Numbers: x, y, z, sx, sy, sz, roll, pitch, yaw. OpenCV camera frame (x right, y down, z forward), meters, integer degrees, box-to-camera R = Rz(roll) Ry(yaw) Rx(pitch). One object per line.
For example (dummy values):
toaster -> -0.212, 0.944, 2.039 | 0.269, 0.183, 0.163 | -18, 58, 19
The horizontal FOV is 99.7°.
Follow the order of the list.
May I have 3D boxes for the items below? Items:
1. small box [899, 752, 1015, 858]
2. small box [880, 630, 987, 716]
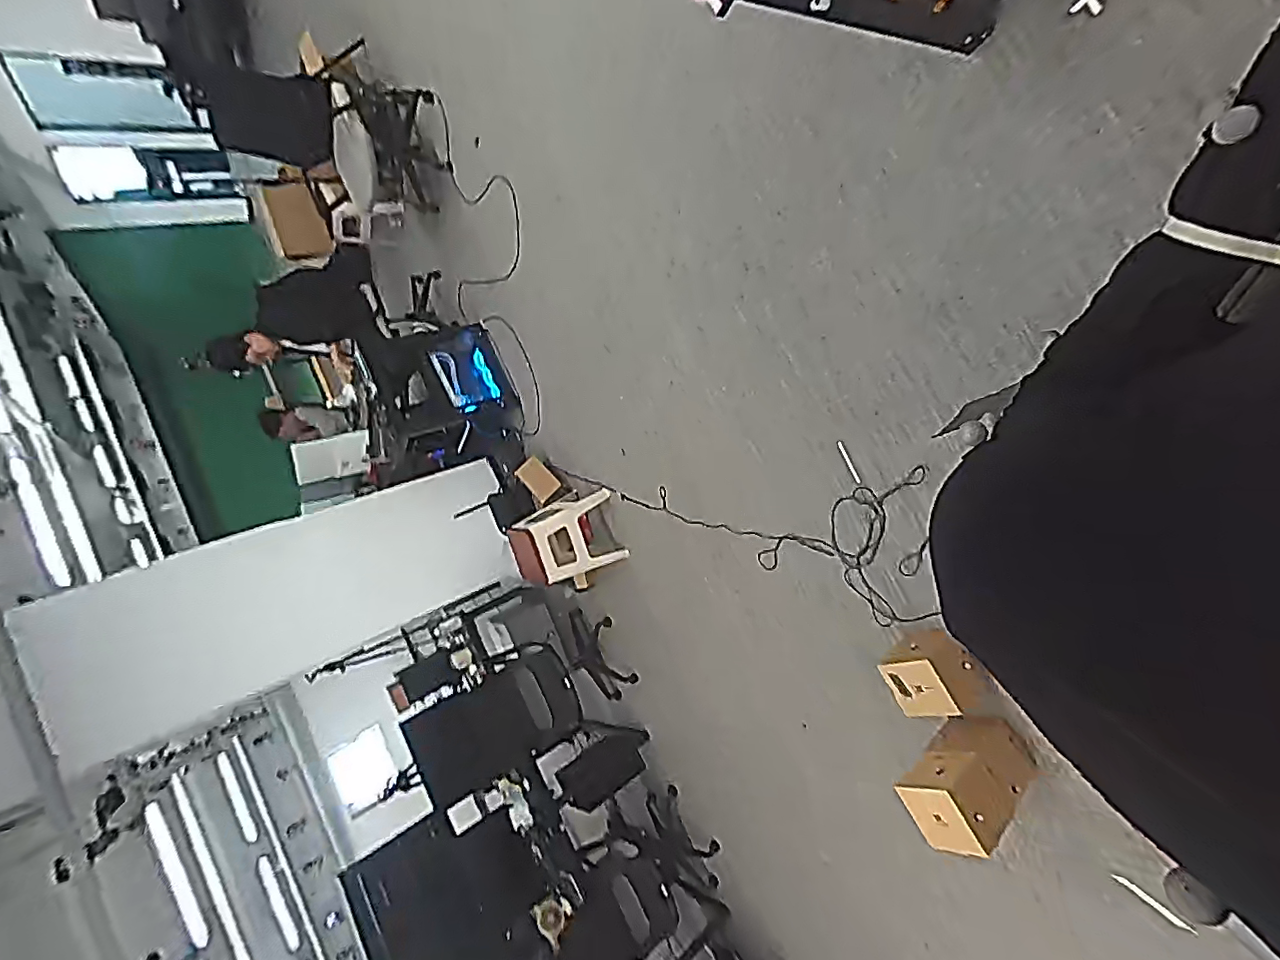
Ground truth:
small box -> 0.831, 0.840, 1.419 | 0.179, 0.176, 0.168 | 59, 147, 10
small box -> 0.833, 0.547, 1.534 | 0.168, 0.176, 0.179 | 61, 146, 7
